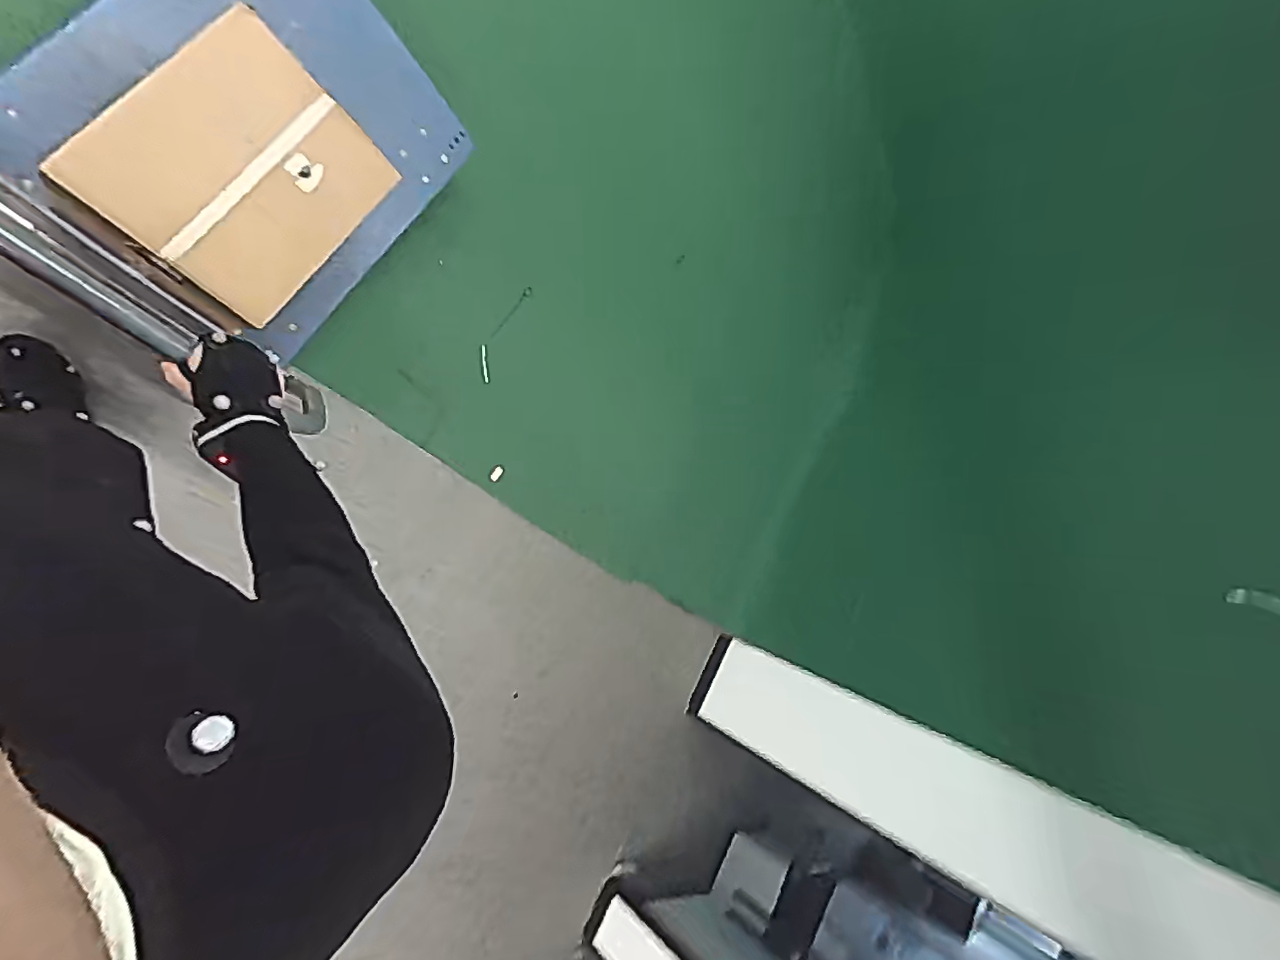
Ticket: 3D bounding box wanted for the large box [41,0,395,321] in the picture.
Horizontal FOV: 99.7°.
[{"bbox_3d":[-0.751,-0.548,0.994,0.320,0.320,0.408,47,67,-43],"label":"large box"}]
